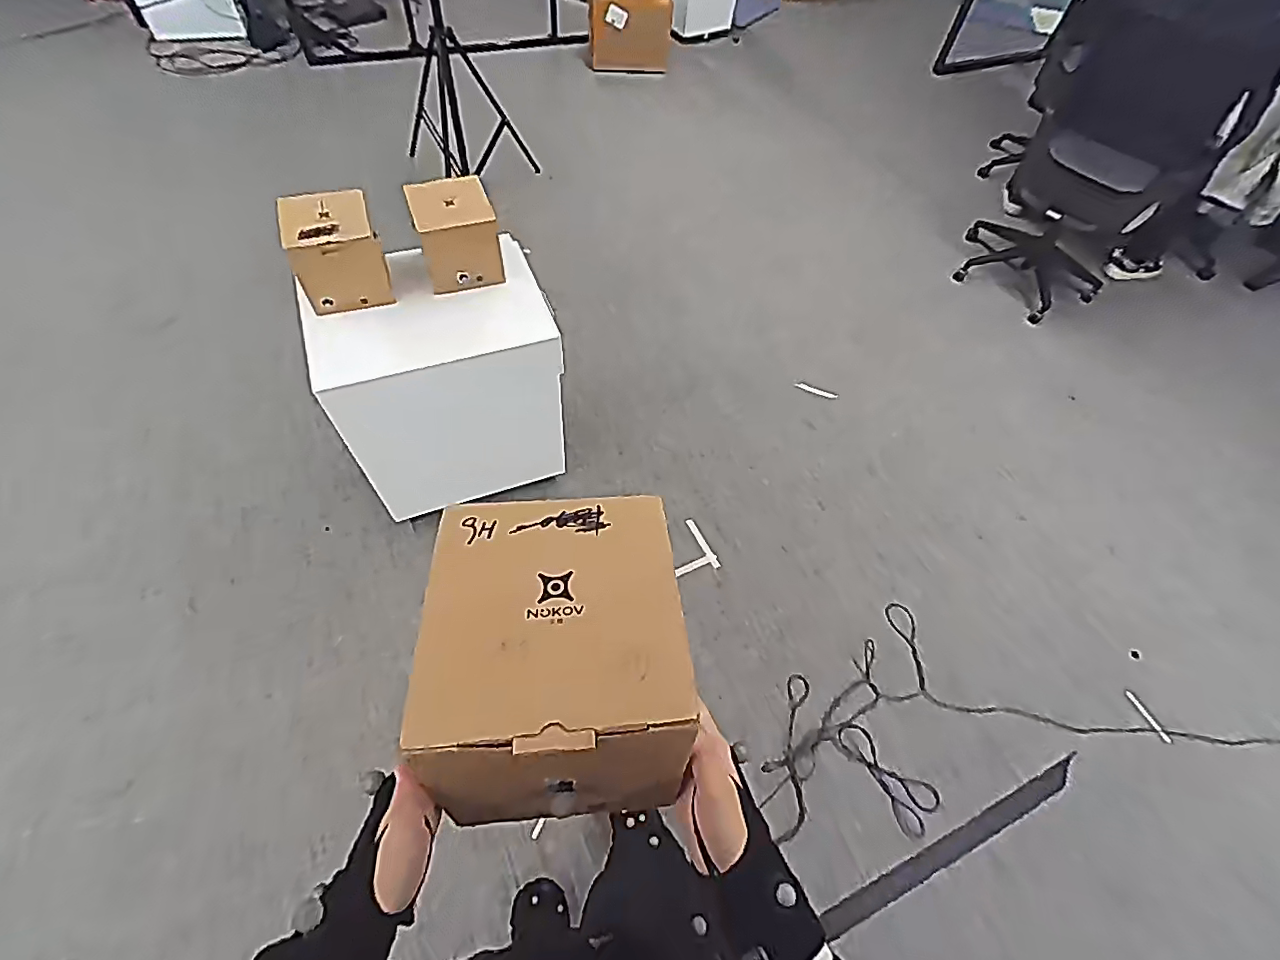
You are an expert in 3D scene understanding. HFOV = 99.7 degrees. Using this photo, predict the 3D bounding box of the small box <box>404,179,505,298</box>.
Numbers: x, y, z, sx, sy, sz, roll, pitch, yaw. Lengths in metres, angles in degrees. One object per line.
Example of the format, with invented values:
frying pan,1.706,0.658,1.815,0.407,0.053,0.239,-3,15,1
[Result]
small box,-0.418,-0.549,1.233,0.168,0.176,0.179,-18,63,-15

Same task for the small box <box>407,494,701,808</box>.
small box,-0.056,0.132,0.409,0.168,0.176,0.179,-2,47,-7

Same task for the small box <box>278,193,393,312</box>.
small box,-0.649,-0.482,1.165,0.168,0.176,0.179,-16,61,-16
